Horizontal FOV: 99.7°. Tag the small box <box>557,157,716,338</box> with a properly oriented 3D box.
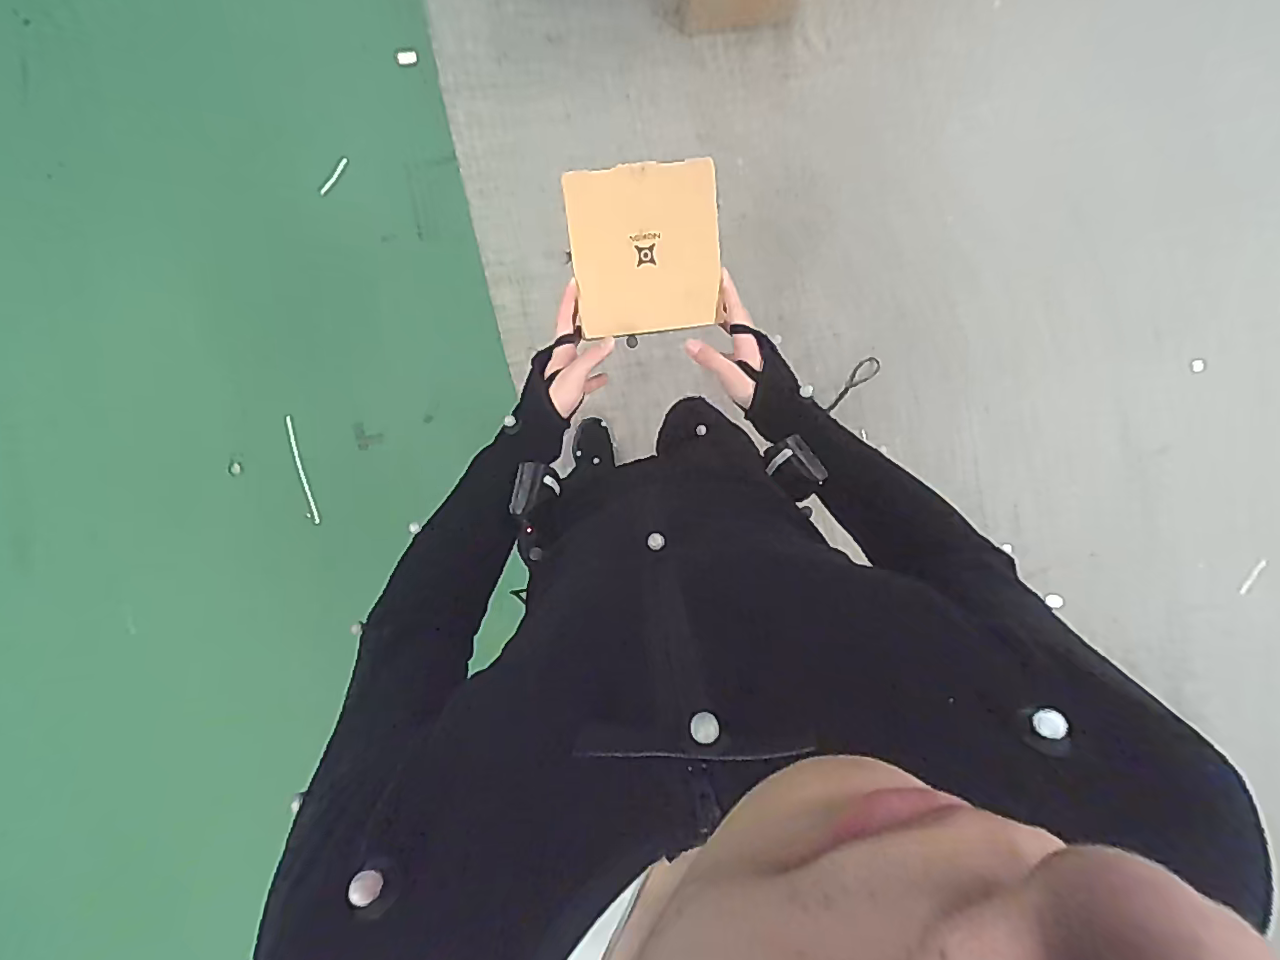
[{"bbox_3d":[-0.003,-0.273,0.674,0.168,0.176,0.179,-7,103,-2],"label":"small box"}]
